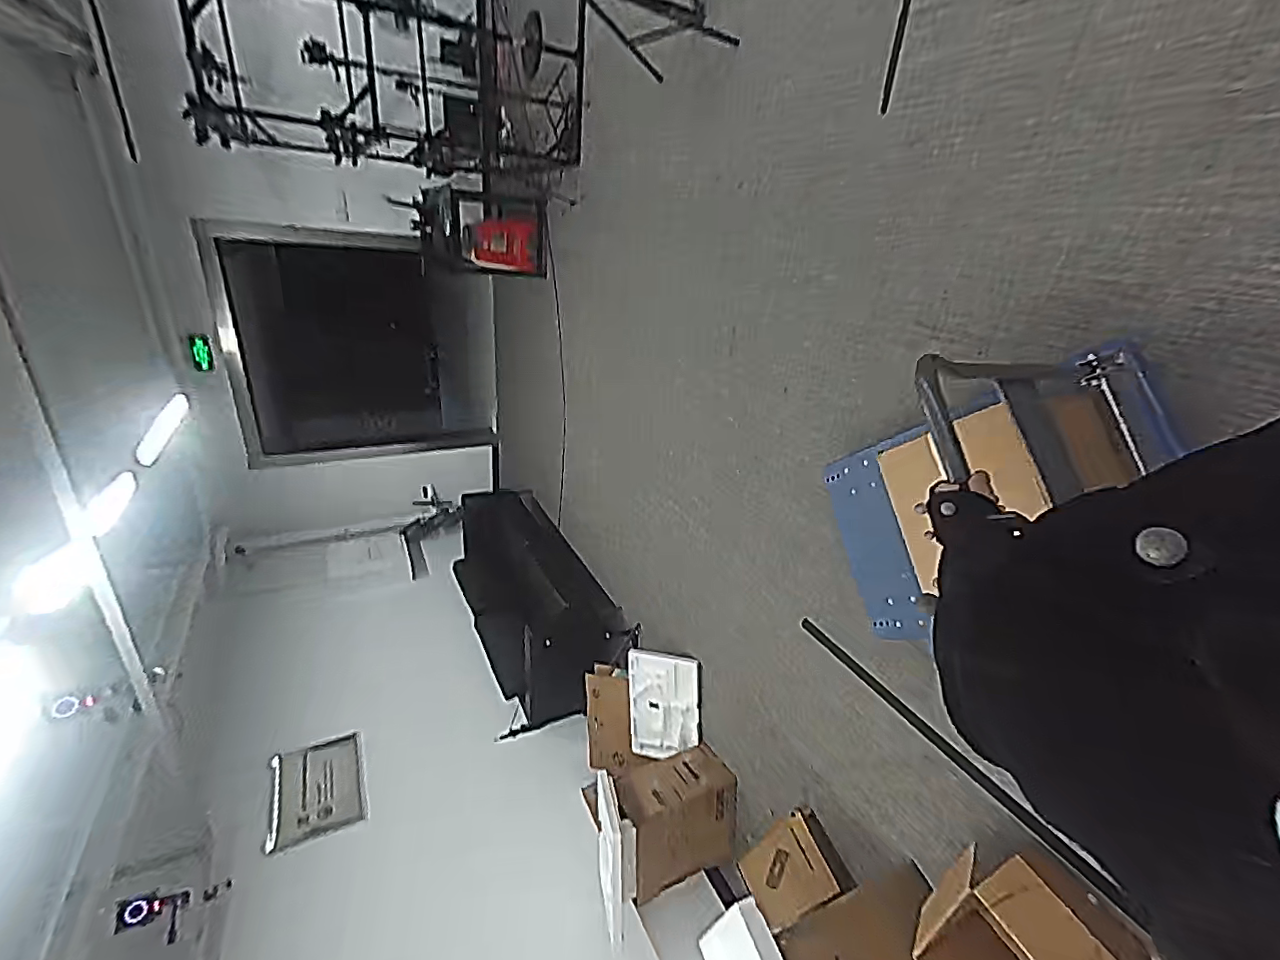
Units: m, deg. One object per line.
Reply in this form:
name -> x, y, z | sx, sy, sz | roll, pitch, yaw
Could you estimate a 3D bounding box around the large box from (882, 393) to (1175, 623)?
large box -> 0.803, 0.064, 1.153 | 0.320, 0.320, 0.408 | -36, 64, 60
